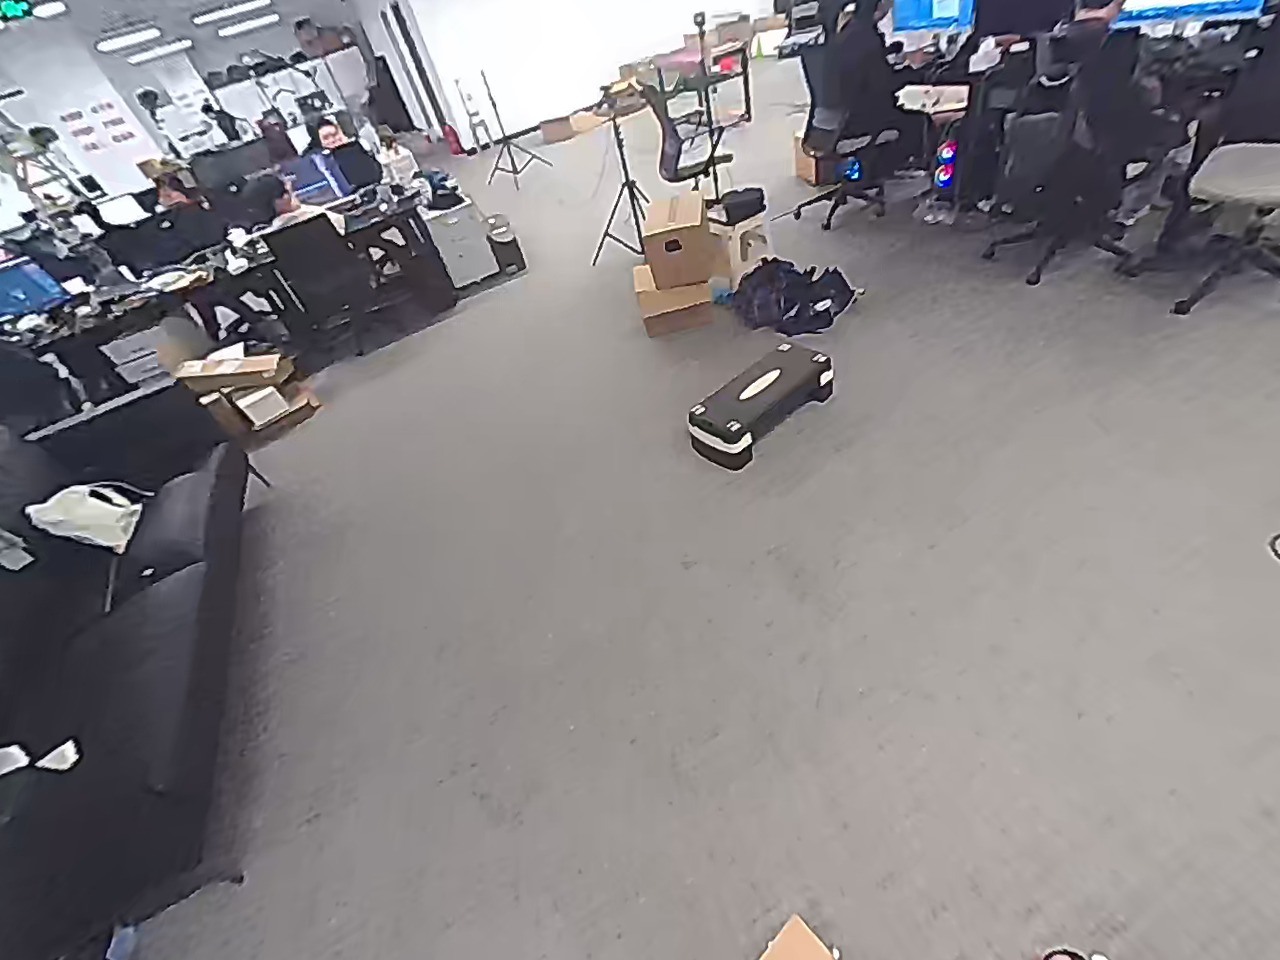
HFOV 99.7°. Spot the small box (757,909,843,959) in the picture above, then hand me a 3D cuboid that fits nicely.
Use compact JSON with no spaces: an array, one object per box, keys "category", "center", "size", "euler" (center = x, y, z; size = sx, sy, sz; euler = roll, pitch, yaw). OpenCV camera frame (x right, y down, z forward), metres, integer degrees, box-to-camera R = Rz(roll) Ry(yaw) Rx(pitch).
[{"category":"small box","center":[0.333,1.006,1.067],"size":[0.168,0.176,0.179],"euler":[-38,44,-21]}]
